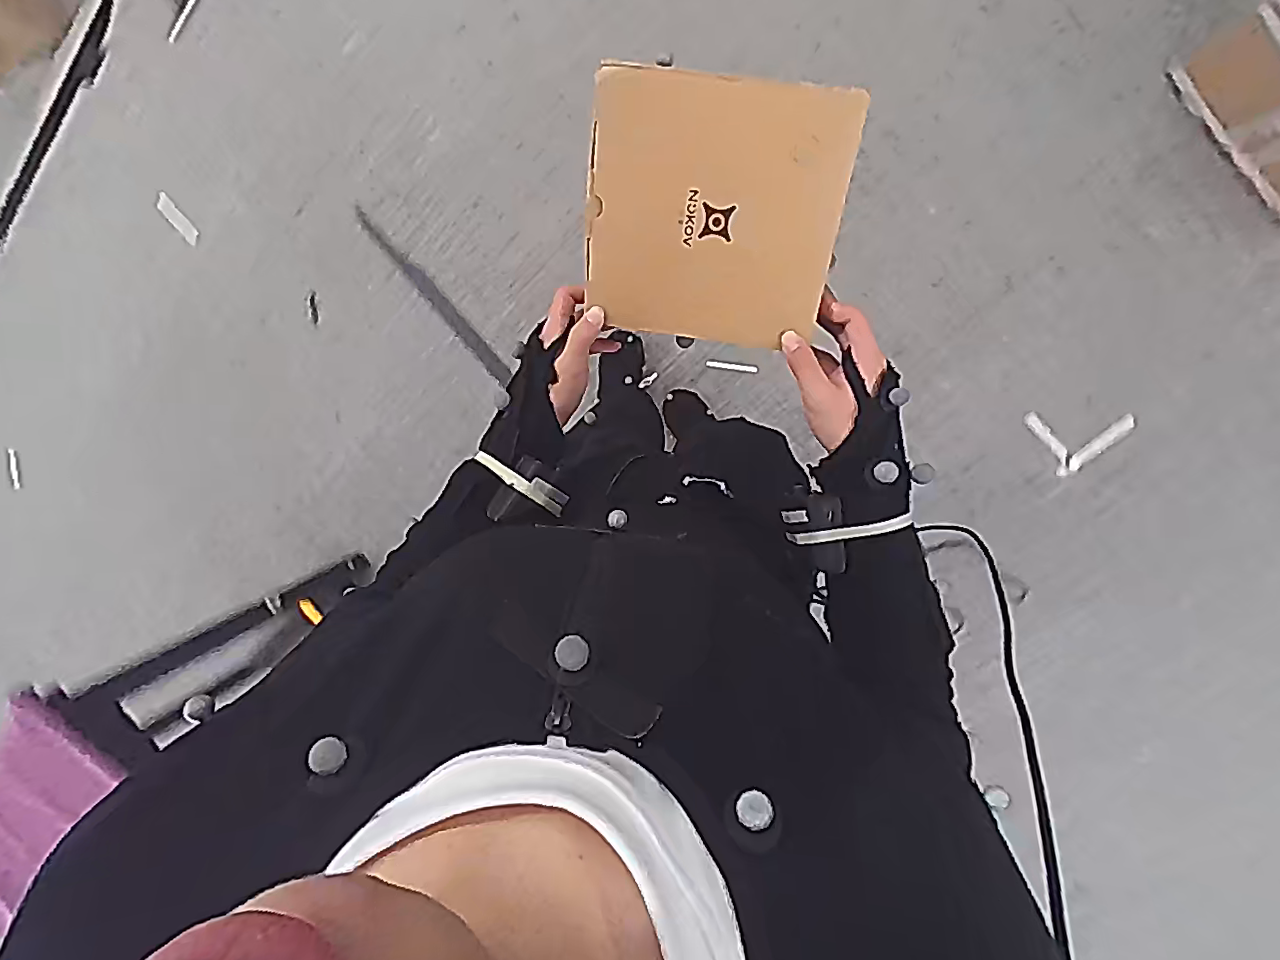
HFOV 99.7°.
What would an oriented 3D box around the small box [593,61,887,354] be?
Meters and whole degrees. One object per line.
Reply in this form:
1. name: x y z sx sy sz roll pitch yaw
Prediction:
1. small box: 0.071 -0.218 0.446 0.179 0.176 0.168 11 118 6
